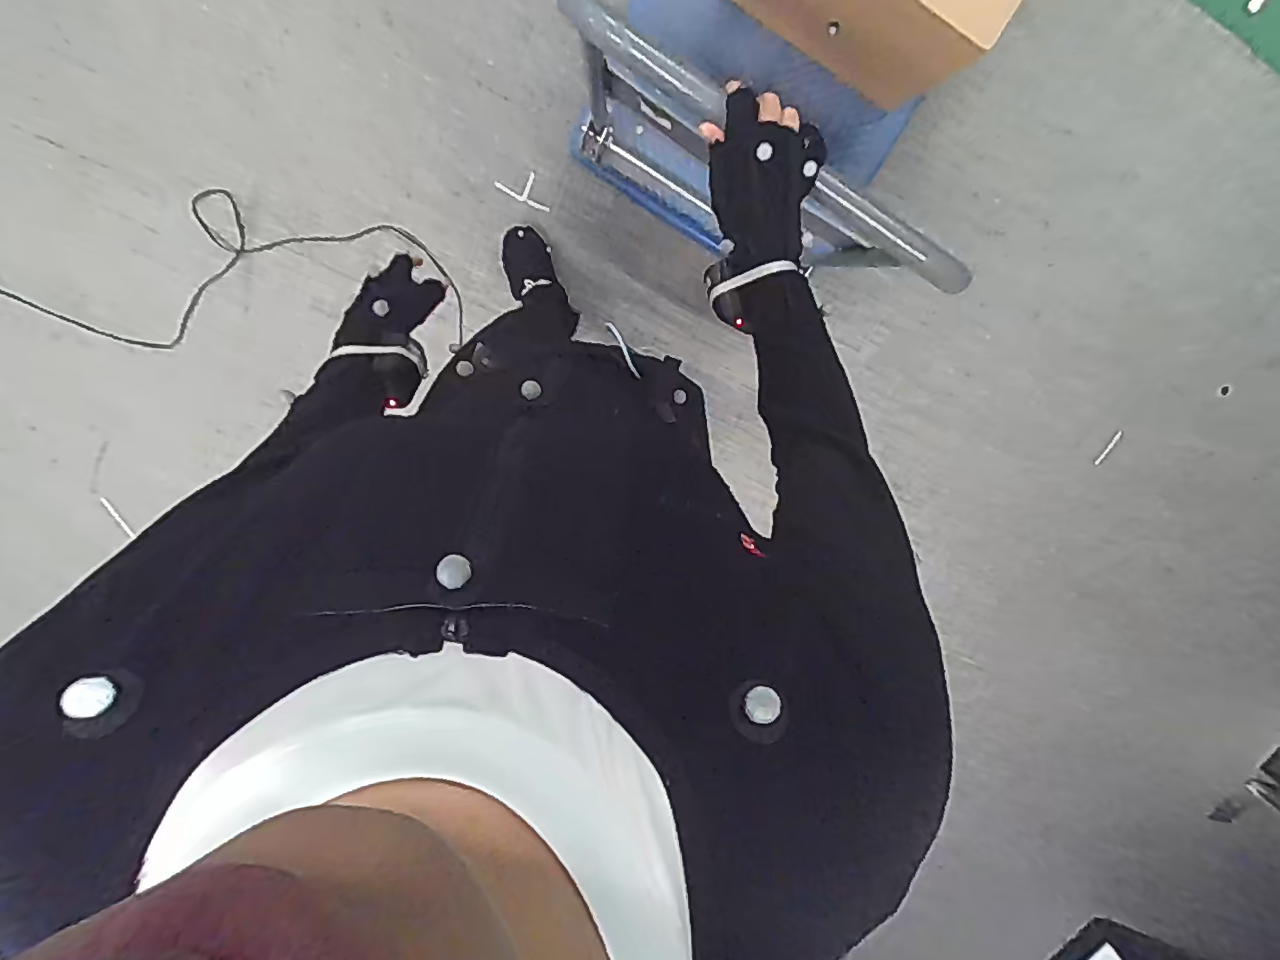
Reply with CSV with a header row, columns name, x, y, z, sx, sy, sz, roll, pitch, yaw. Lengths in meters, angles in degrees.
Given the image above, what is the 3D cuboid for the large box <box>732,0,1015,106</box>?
name,x,y,z,sx,sy,sz,roll,pitch,yaw
large box,0.404,-0.900,0.867,0.408,0.320,0.320,26,106,-11
